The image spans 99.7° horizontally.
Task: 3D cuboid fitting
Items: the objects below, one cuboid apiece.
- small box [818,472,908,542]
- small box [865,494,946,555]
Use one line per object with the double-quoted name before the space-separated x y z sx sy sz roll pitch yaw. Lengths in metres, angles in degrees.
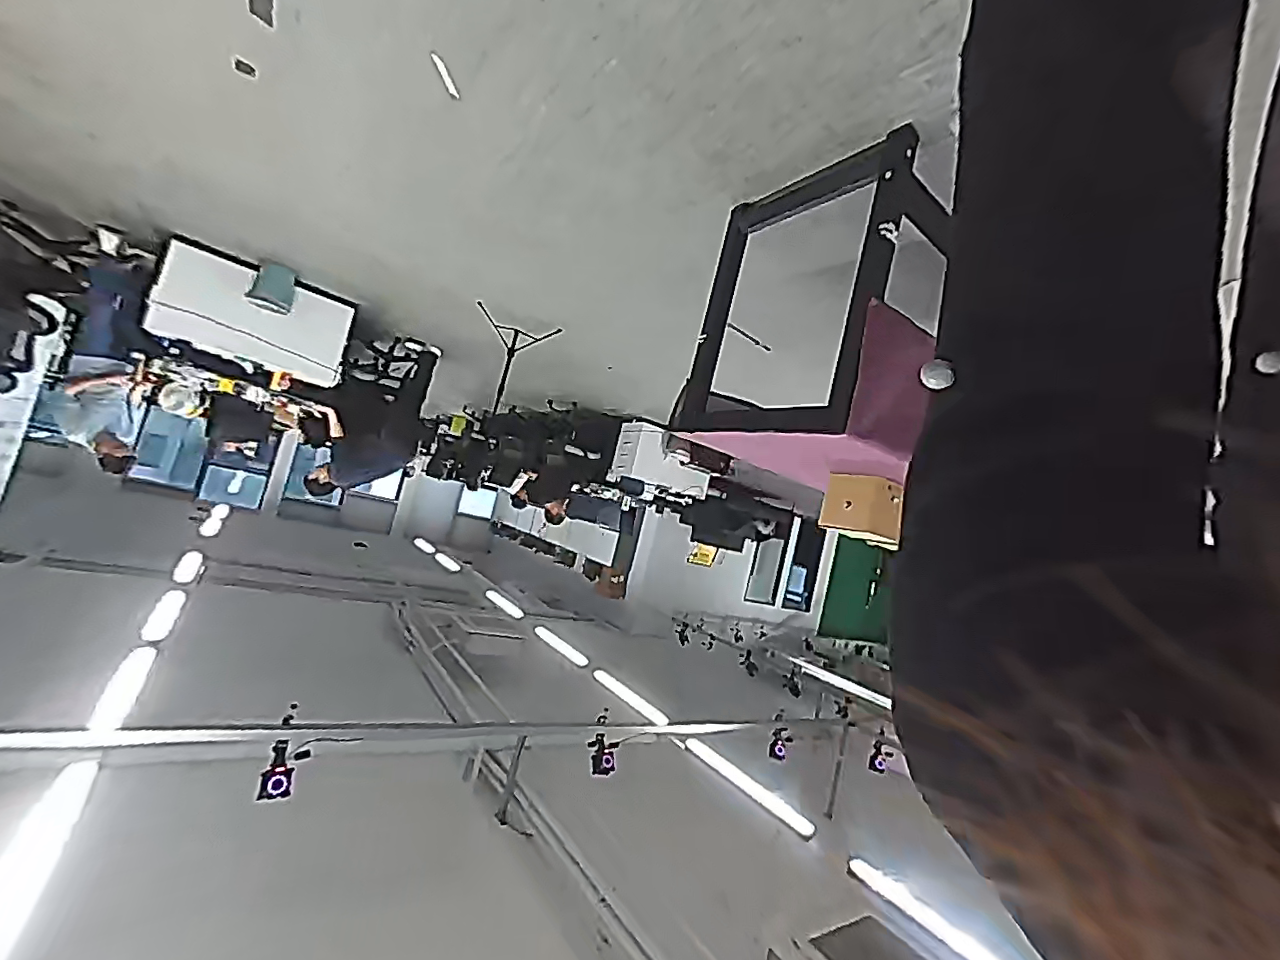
"small box" 0.672 0.076 1.623 0.168 0.176 0.179 16 174 -30
"small box" 0.866 0.136 1.755 0.168 0.176 0.179 17 175 -33
